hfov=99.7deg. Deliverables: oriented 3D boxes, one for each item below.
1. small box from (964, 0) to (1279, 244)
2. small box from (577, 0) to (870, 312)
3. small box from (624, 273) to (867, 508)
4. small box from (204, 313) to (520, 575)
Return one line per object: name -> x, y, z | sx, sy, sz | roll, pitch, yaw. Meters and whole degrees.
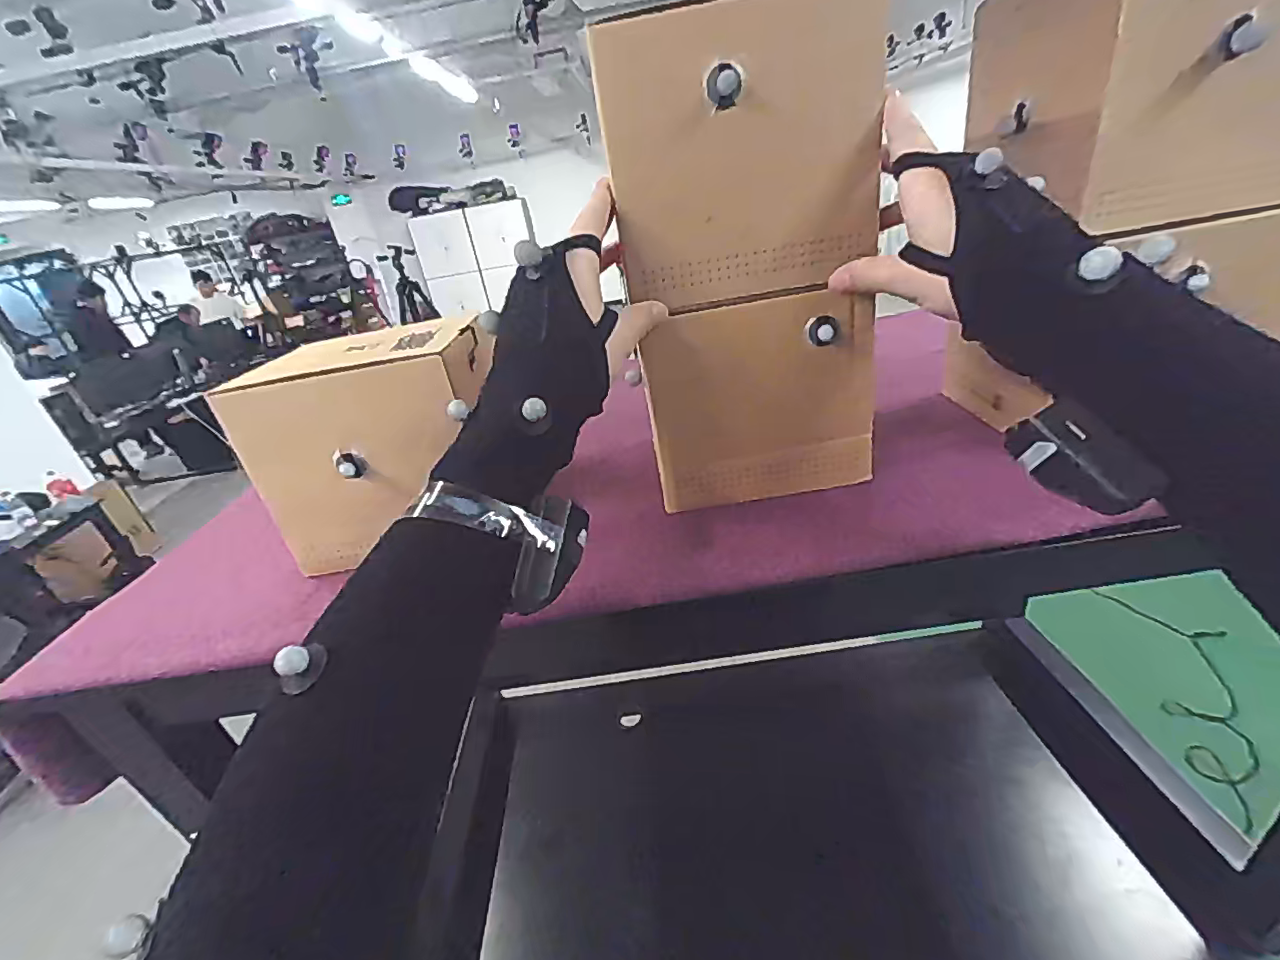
small box -> 0.362, -0.280, 0.392 | 0.179, 0.176, 0.168 | -9, 29, 6
small box -> 0.060, -0.234, 0.413 | 0.179, 0.176, 0.168 | -9, 28, 3
small box -> 0.087, -0.089, 0.487 | 0.179, 0.176, 0.168 | -10, 27, 1
small box -> -0.219, -0.037, 0.491 | 0.179, 0.176, 0.168 | -11, 27, 1
